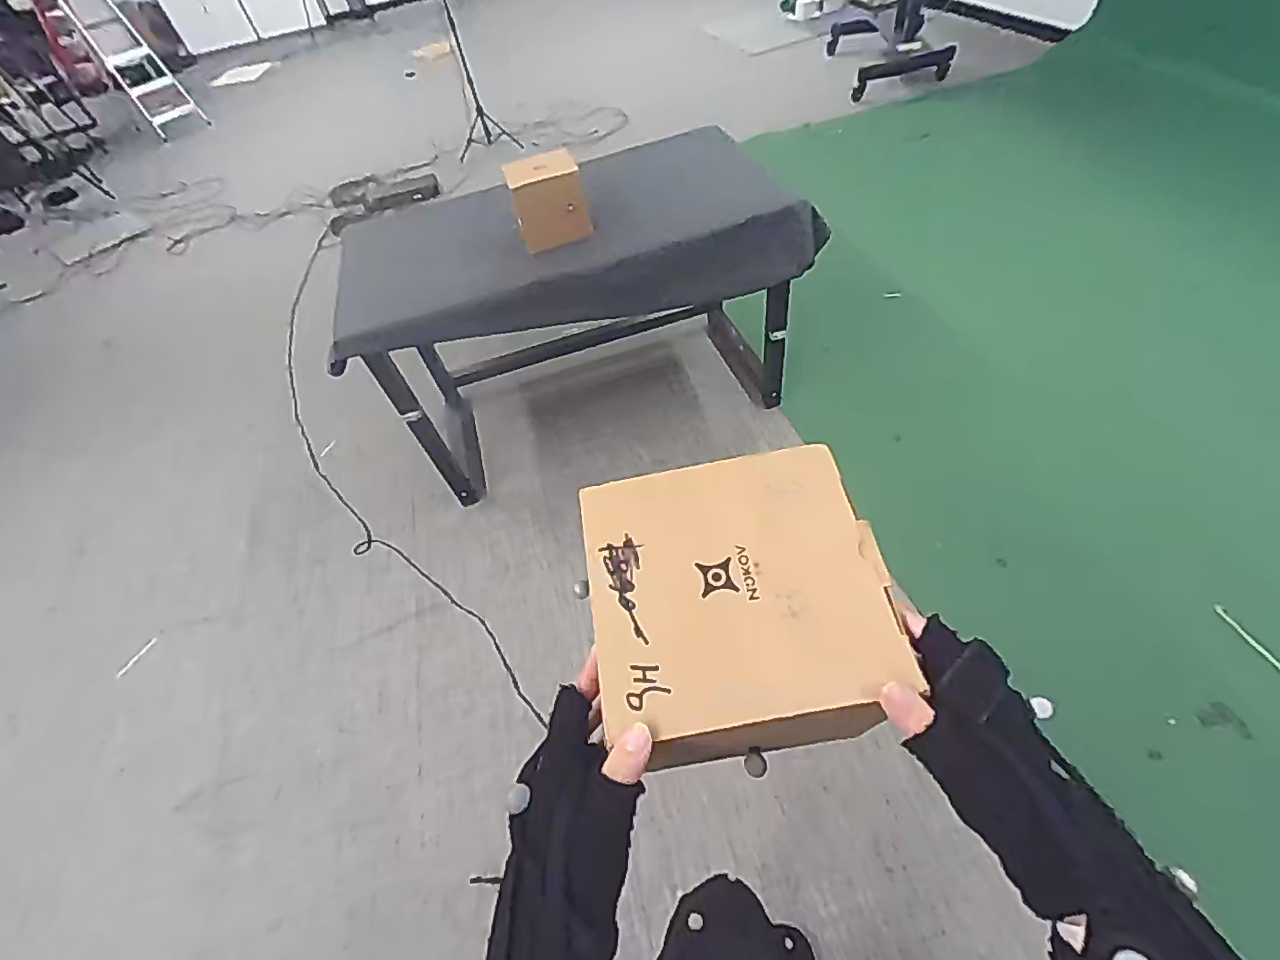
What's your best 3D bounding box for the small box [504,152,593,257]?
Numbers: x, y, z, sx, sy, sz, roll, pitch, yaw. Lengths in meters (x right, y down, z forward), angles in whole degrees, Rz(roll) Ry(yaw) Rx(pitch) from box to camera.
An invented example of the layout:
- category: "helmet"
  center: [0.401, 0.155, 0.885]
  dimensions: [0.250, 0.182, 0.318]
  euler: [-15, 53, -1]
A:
- category: "small box"
  center: [-0.230, -0.709, 1.397]
  dimensions: [0.179, 0.176, 0.168]
  euler: [-20, 50, -4]
